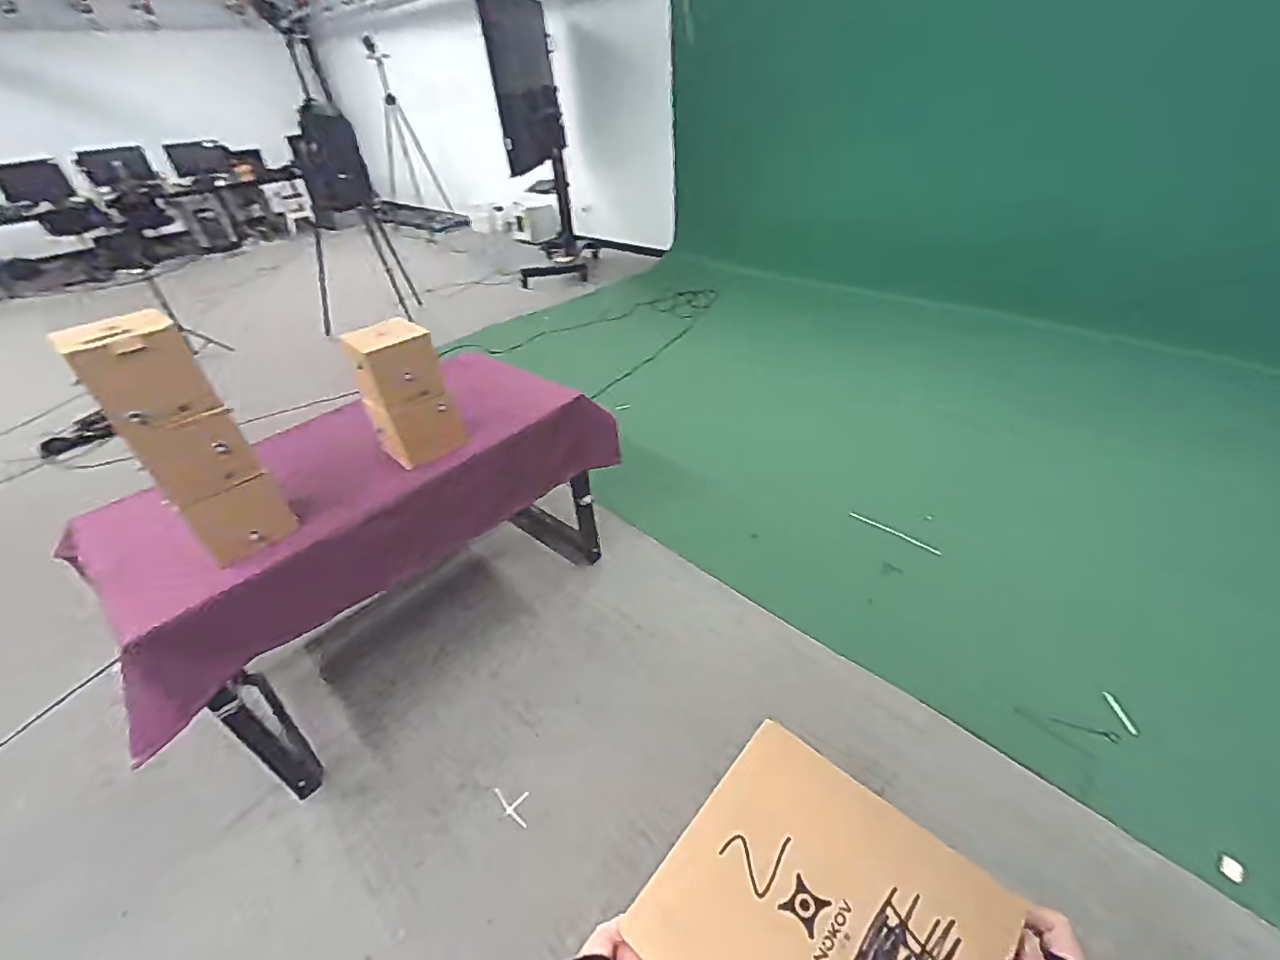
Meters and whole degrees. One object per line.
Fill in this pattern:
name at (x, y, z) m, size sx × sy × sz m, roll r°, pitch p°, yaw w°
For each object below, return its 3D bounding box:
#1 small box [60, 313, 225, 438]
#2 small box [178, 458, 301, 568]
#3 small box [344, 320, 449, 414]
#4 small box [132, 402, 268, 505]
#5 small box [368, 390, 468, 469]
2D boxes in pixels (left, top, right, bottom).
small box at (-0.942, -0.200, 1.035) m, size 0.179 × 0.176 × 0.168 m, roll 25°, pitch 45°, yaw 36°
small box at (-0.906, 0.064, 1.227) m, size 0.168 × 0.176 × 0.179 m, roll 27°, pitch 47°, yaw 36°
small box at (-0.618, -0.288, 1.386) m, size 0.168 × 0.176 × 0.179 m, roll -32°, pitch 44°, yaw -31°
small box at (-0.921, -0.069, 1.133) m, size 0.168 × 0.176 × 0.179 m, roll -33°, pitch 44°, yaw -32°
small box at (-0.602, -0.154, 1.481) m, size 0.168 × 0.176 × 0.179 m, roll 28°, pitch 48°, yaw 37°
